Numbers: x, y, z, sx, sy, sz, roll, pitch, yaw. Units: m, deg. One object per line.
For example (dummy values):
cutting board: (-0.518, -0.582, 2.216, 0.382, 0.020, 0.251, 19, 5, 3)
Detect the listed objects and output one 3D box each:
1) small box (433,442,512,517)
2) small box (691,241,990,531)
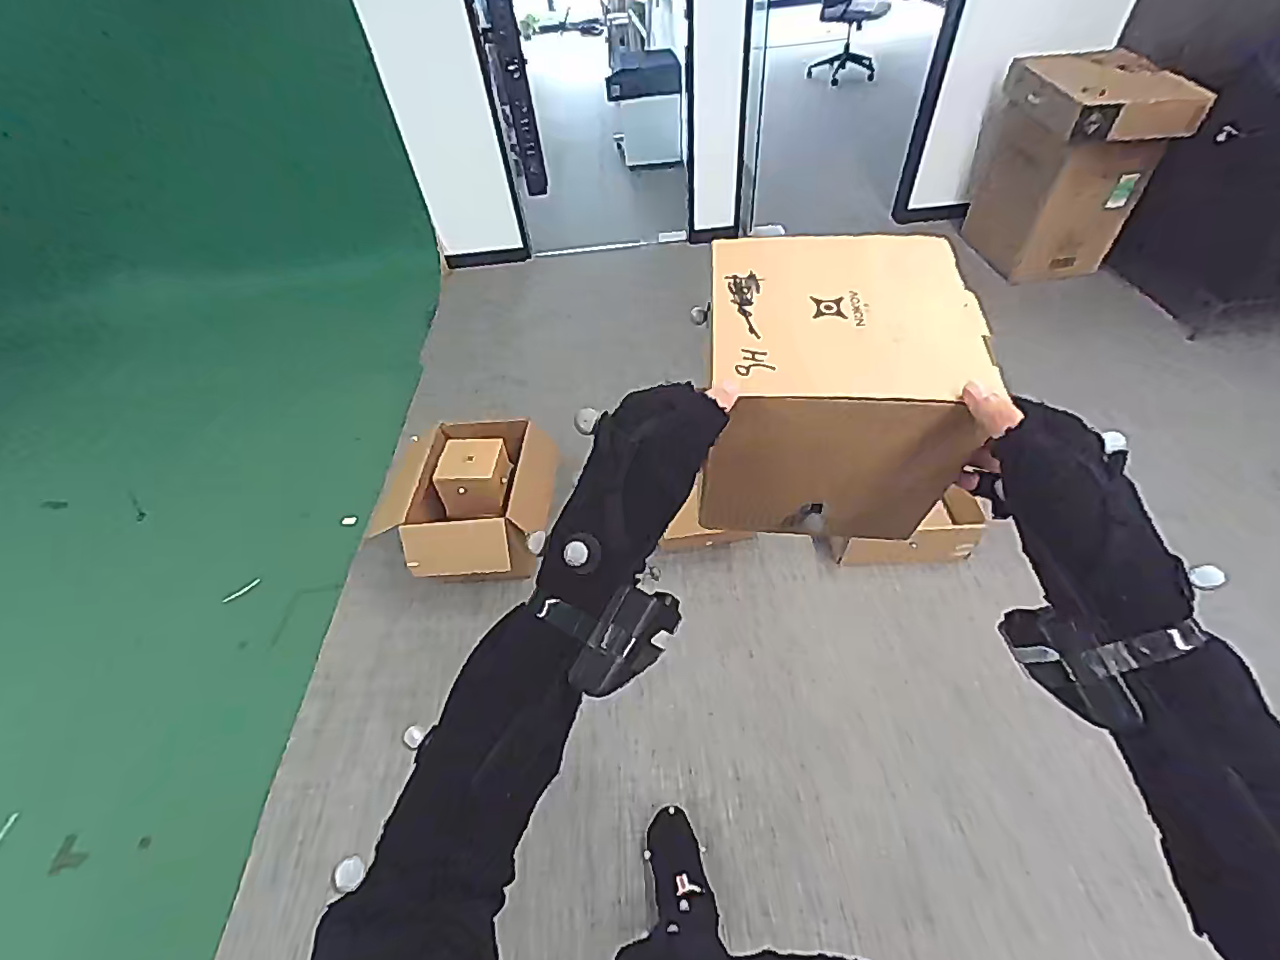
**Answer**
small box: (-0.502, 0.000, 1.655, 0.179, 0.176, 0.168, 0, 47, 3)
small box: (0.137, -0.070, 0.445, 0.179, 0.176, 0.168, 3, 55, 3)
